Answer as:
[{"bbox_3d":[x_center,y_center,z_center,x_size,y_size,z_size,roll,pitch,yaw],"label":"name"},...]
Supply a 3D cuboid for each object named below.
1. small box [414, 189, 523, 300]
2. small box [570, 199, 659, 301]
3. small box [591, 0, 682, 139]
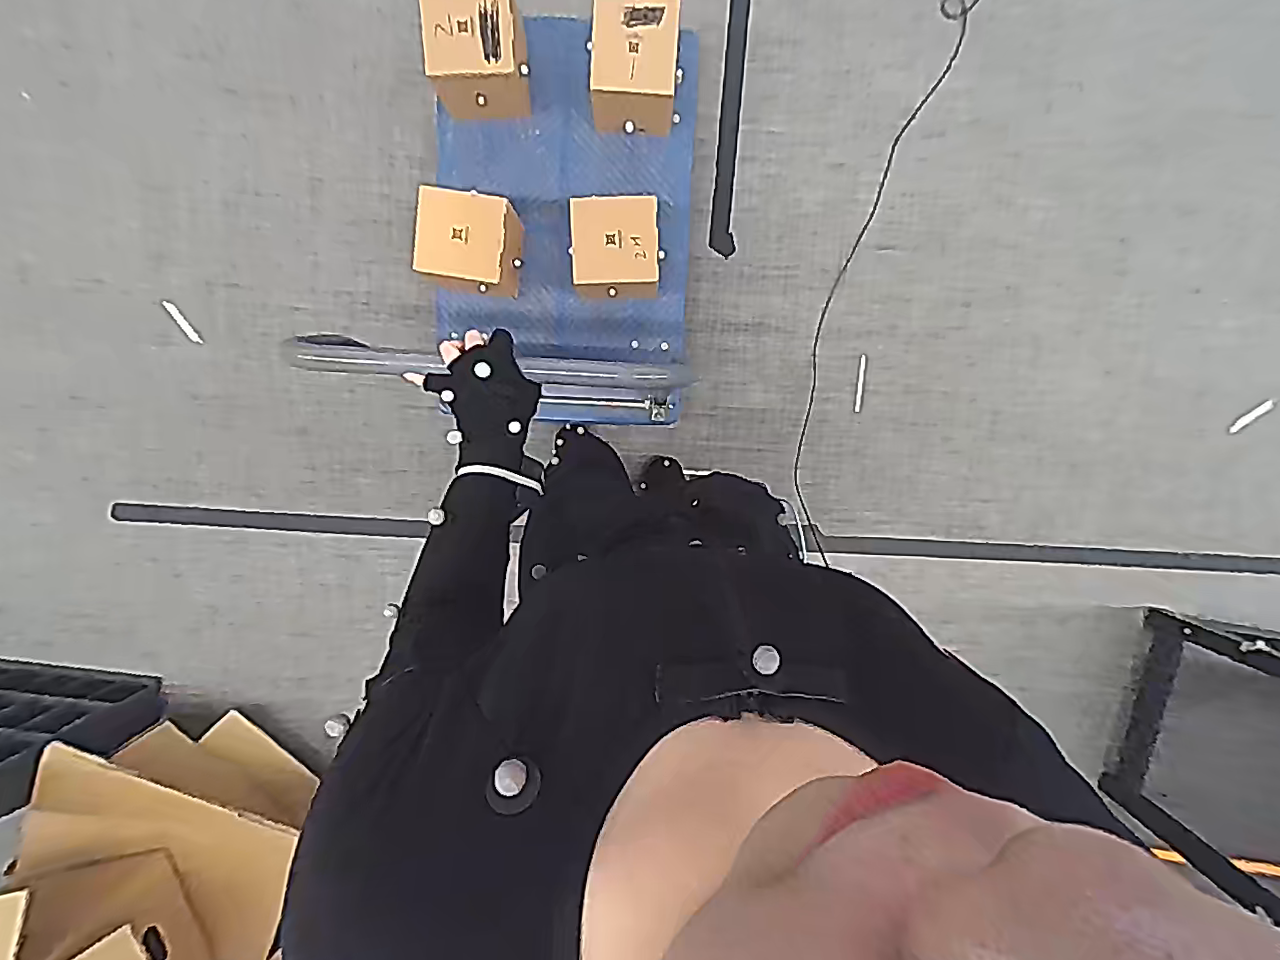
[{"bbox_3d":[-0.358,-0.493,1.156,0.179,0.176,0.168,7,96,-3],"label":"small box"},{"bbox_3d":[-0.049,-0.484,1.158,0.179,0.176,0.168,-2,98,0],"label":"small box"},{"bbox_3d":[-0.009,-0.840,1.112,0.168,0.176,0.179,4,99,-1],"label":"small box"}]
